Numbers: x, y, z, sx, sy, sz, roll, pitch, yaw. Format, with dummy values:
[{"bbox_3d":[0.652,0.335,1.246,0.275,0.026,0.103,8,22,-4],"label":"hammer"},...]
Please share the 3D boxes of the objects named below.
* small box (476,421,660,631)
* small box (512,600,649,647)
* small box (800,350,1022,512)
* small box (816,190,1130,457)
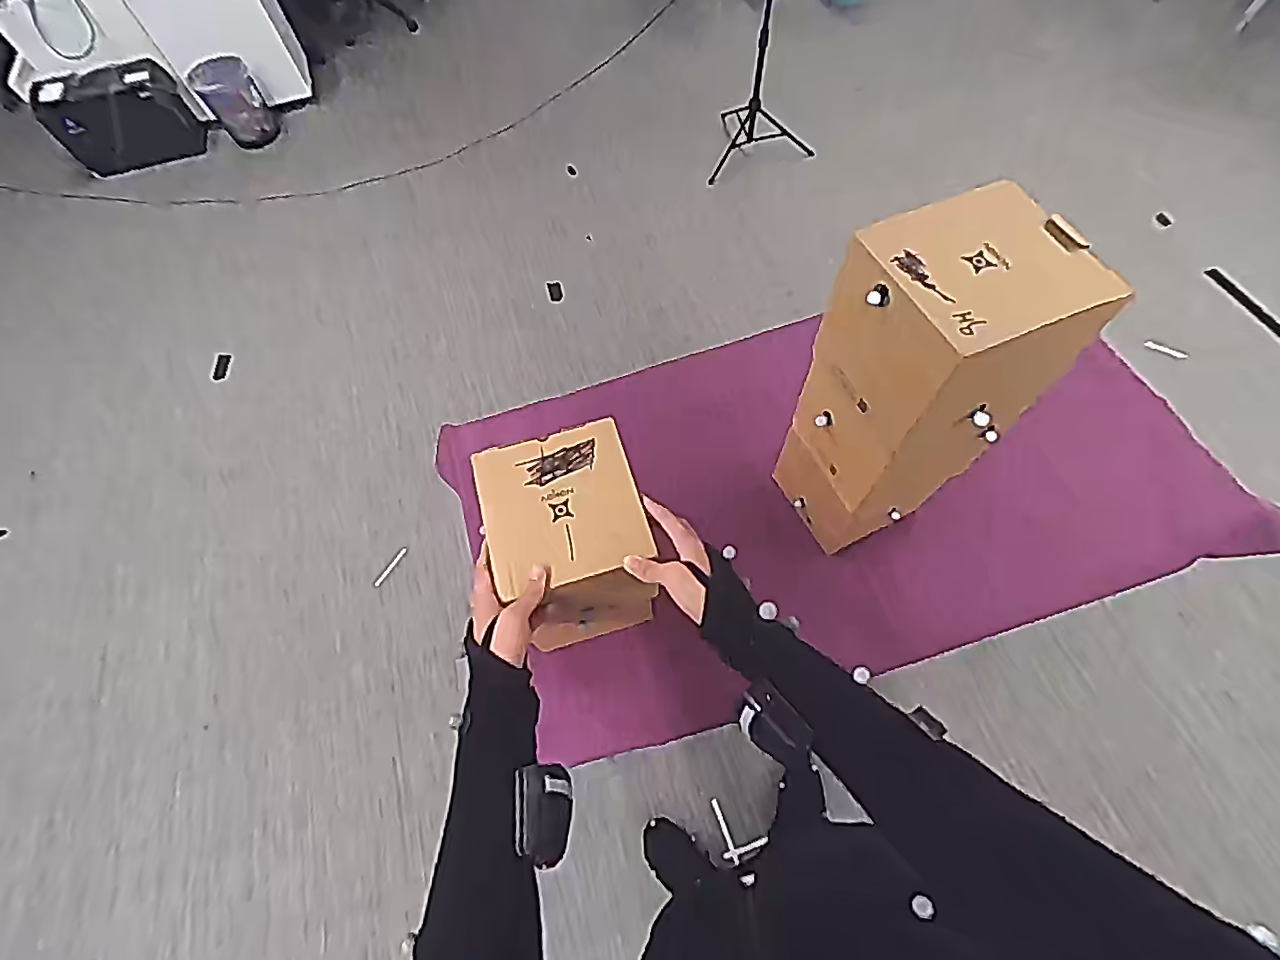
[{"bbox_3d":[-0.081,0.061,0.642,0.168,0.176,0.179,-16,66,-6],"label":"small box"},{"bbox_3d":[-0.090,0.133,0.791,0.179,0.176,0.168,-15,64,-6],"label":"small box"},{"bbox_3d":[0.324,-0.081,0.698,0.179,0.176,0.168,-20,64,-7],"label":"small box"},{"bbox_3d":[0.309,-0.150,0.549,0.179,0.176,0.168,-20,63,-8],"label":"small box"}]
